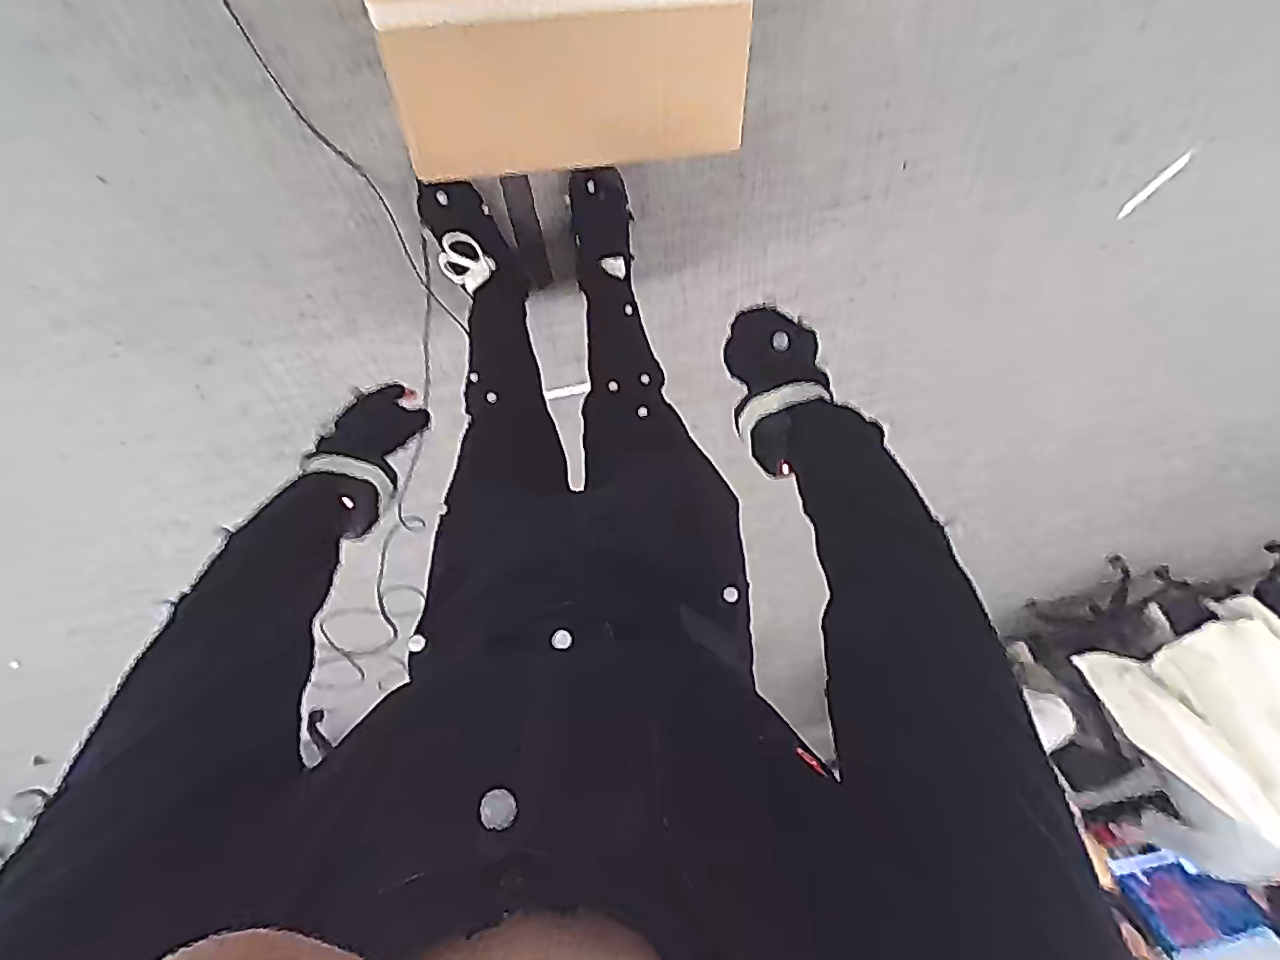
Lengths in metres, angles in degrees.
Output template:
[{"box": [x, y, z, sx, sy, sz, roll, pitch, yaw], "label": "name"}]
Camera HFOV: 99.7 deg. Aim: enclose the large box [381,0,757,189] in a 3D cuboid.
[{"box": [-0.093, -0.599, 0.682, 0.408, 0.320, 0.320, -9, 136, -6], "label": "large box"}]
